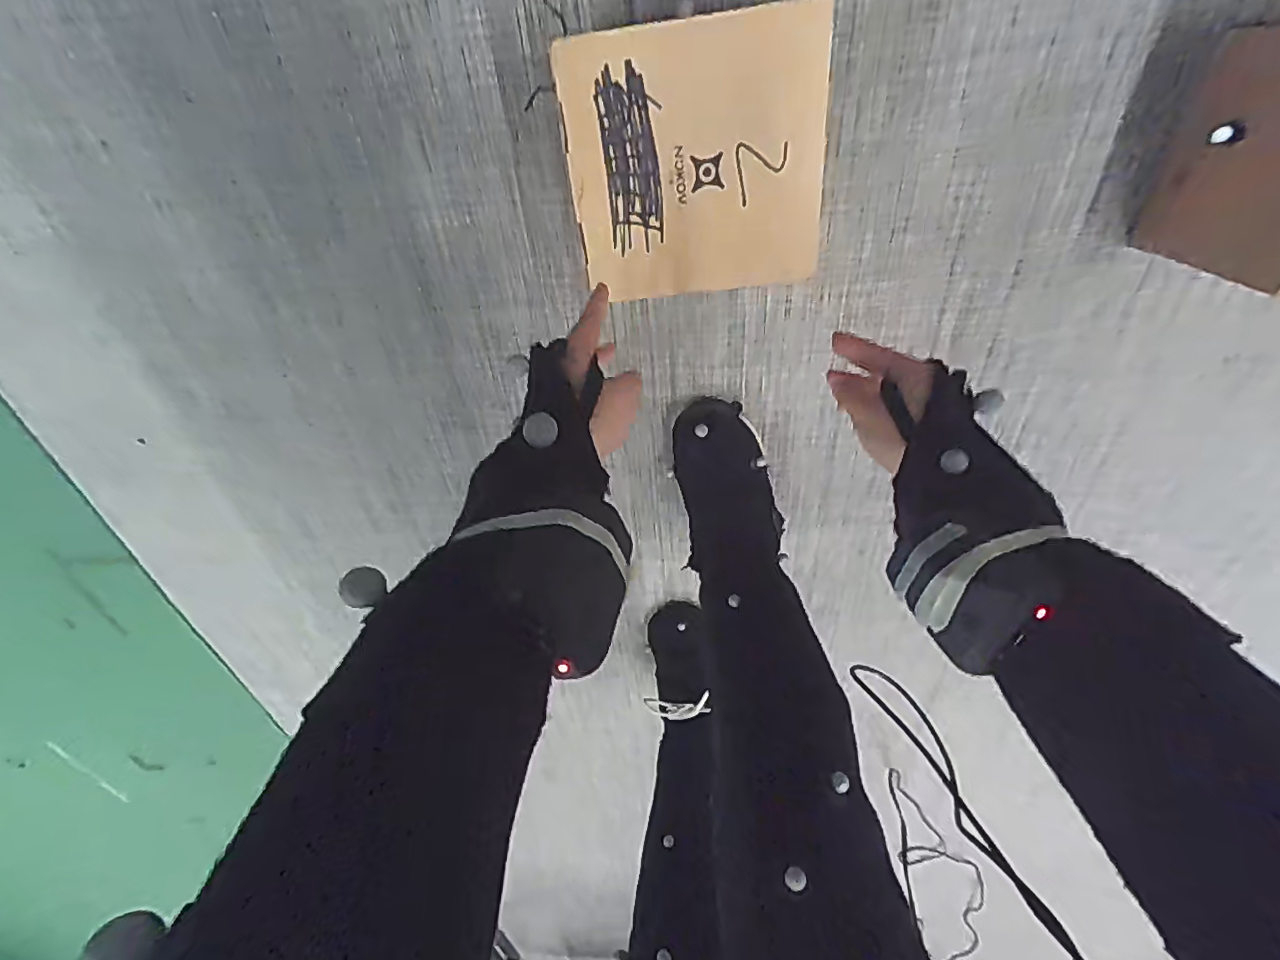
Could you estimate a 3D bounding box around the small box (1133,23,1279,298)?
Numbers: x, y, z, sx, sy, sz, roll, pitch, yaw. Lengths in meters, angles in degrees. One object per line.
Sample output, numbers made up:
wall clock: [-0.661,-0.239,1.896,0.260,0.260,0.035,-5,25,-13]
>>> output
small box: [0.550,-0.246,0.406,0.179,0.176,0.168,0,126,4]
